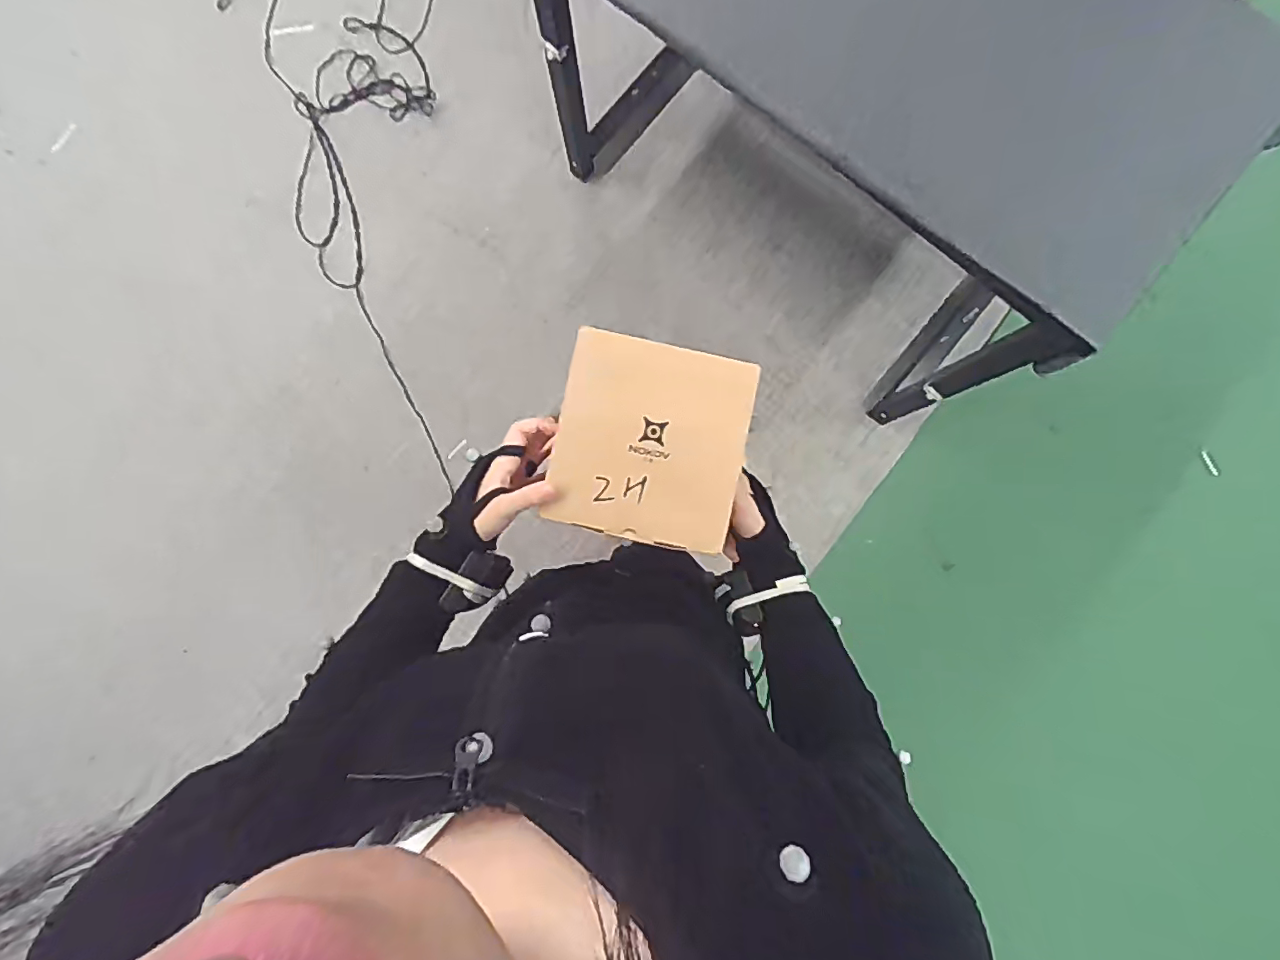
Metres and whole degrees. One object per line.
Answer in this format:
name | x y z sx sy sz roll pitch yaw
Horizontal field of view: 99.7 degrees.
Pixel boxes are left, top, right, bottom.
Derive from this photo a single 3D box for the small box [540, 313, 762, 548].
small box | 0.006 -0.039 0.542 0.168 0.176 0.179 12 87 -3
